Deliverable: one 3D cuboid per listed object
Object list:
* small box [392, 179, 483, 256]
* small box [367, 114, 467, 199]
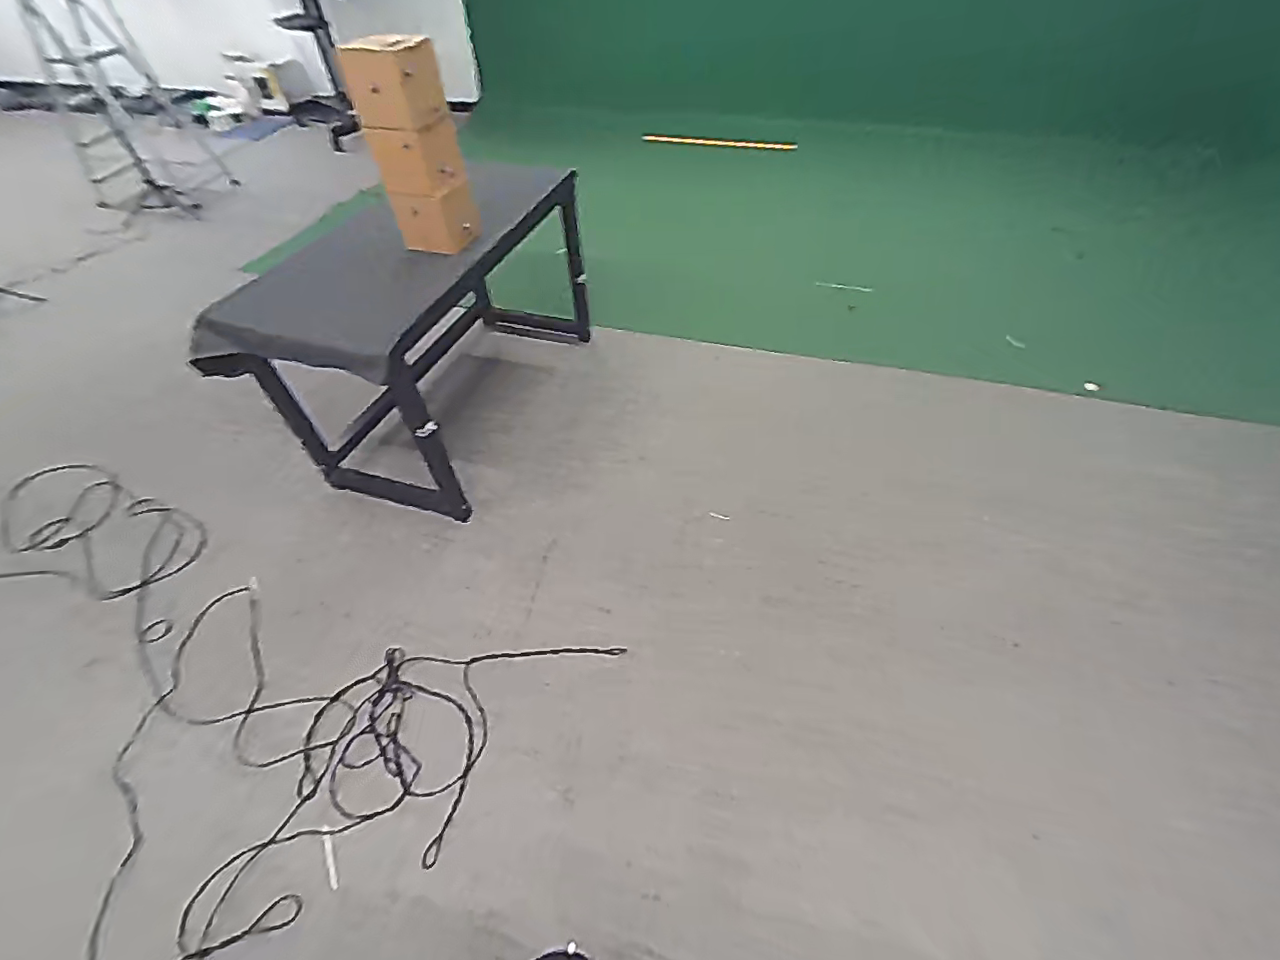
[{"bbox_3d":[-0.611,-0.807,1.654,0.179,0.176,0.168,13,51,14],"label":"small box"},{"bbox_3d":[-0.626,-0.919,1.537,0.179,0.176,0.168,14,50,15],"label":"small box"}]
